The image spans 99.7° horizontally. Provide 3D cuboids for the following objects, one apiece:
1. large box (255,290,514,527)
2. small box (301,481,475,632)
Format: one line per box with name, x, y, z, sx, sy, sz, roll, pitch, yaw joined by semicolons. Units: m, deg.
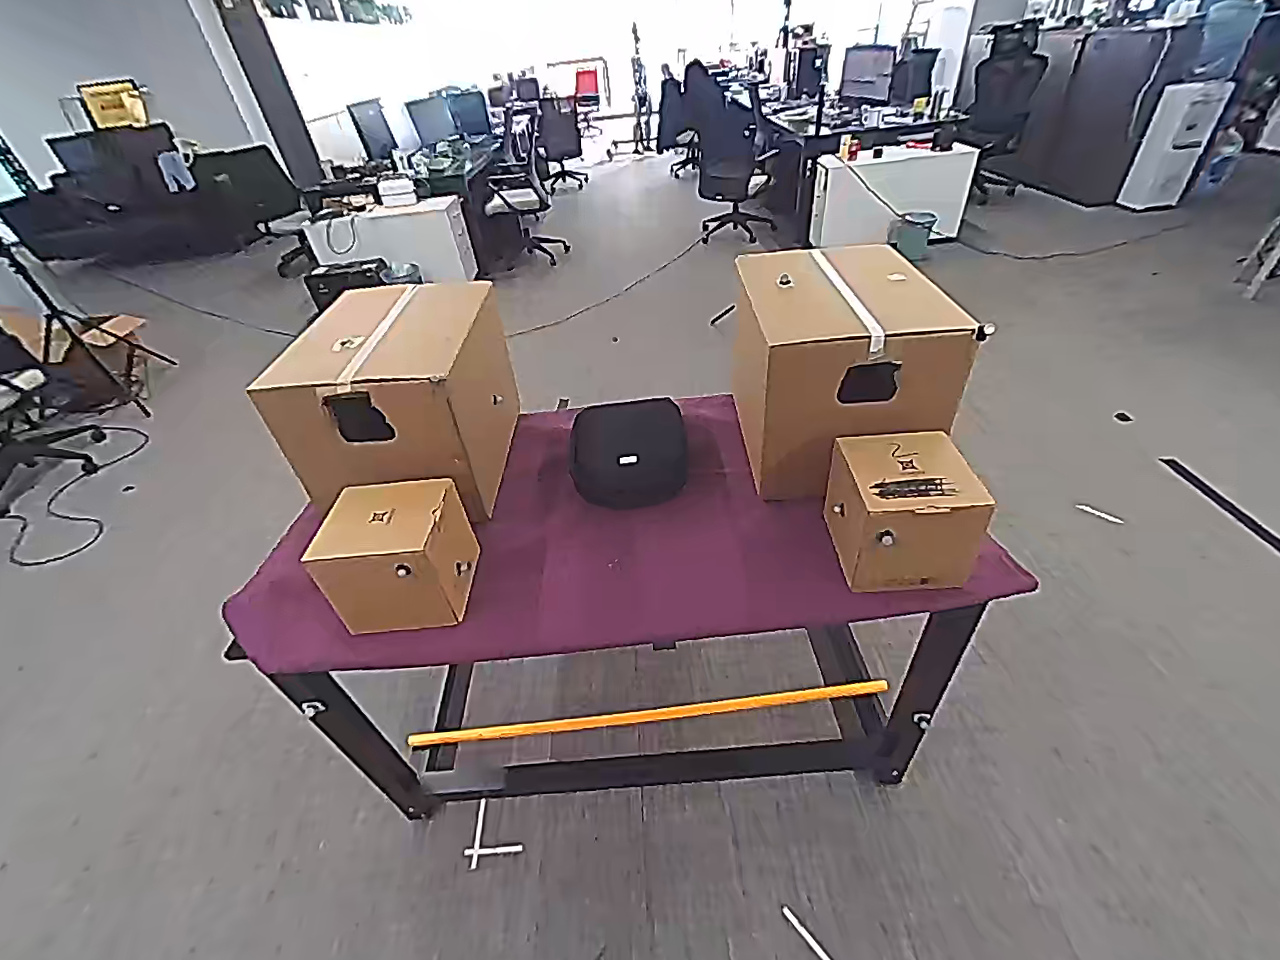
large box;-0.452;-0.146;1.082;0.320;0.320;0.408;-4;42;1
small box;-0.383;0.123;0.858;0.179;0.176;0.168;-6;38;0
